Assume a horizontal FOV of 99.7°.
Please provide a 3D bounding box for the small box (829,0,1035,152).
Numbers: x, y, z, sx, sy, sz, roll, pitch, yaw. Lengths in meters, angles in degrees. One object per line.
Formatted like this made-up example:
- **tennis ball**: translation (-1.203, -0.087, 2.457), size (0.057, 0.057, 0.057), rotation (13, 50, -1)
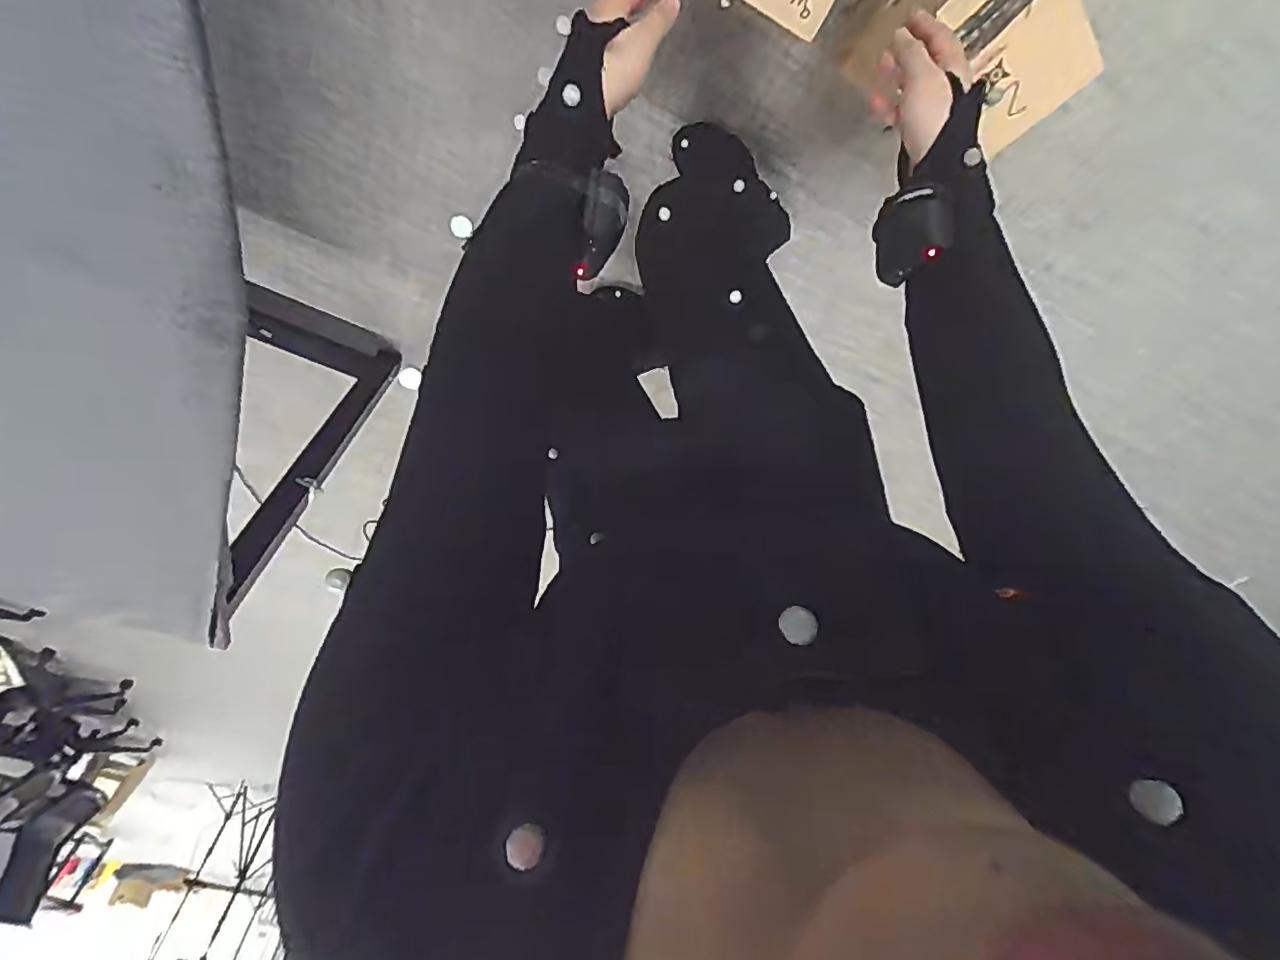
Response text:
- **small box**: translation (0.397, -0.615, 0.762), size (0.179, 0.176, 0.168), rotation (28, 131, -21)
